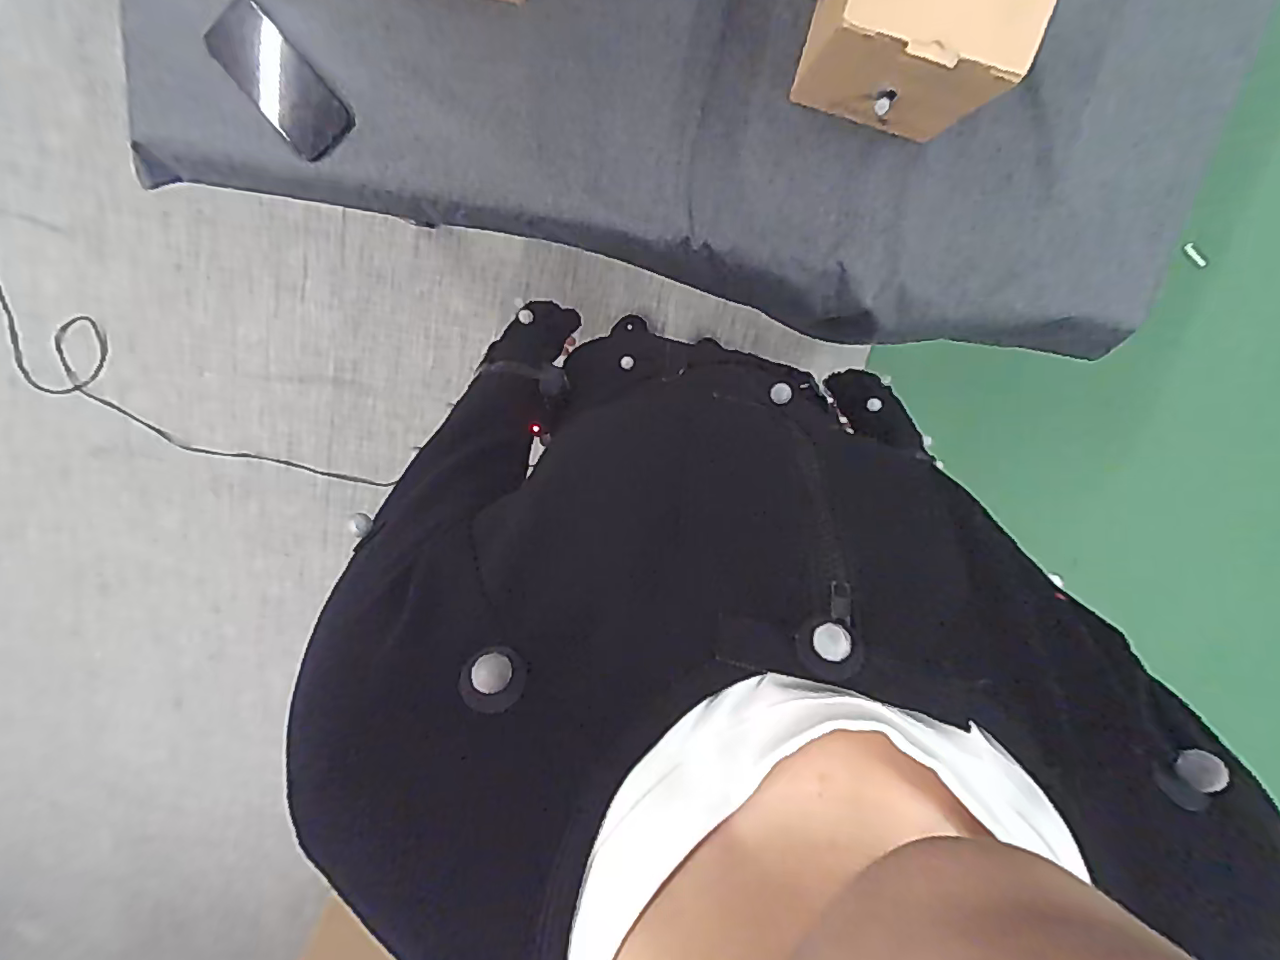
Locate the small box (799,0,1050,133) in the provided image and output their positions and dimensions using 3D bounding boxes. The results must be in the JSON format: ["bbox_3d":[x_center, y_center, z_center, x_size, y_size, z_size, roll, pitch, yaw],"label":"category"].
[{"bbox_3d":[0.264,-0.459,0.504,0.168,0.176,0.179,15,106,-4],"label":"small box"}]
